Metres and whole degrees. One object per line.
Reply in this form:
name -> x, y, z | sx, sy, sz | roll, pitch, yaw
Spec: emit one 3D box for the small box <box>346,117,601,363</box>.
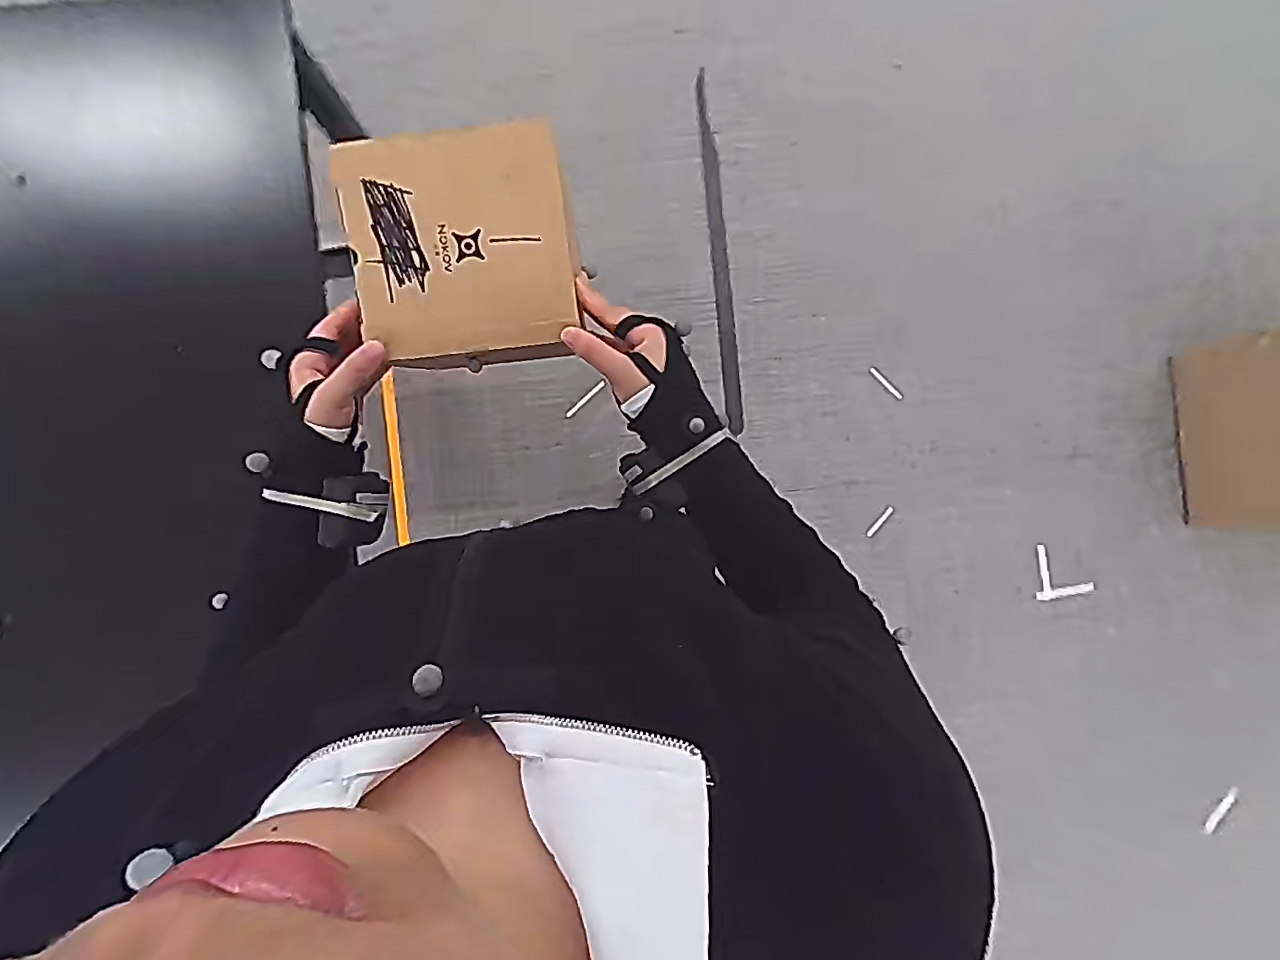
small box -> -0.135, -0.203, 0.506 | 0.179, 0.176, 0.168 | -6, 99, -1
